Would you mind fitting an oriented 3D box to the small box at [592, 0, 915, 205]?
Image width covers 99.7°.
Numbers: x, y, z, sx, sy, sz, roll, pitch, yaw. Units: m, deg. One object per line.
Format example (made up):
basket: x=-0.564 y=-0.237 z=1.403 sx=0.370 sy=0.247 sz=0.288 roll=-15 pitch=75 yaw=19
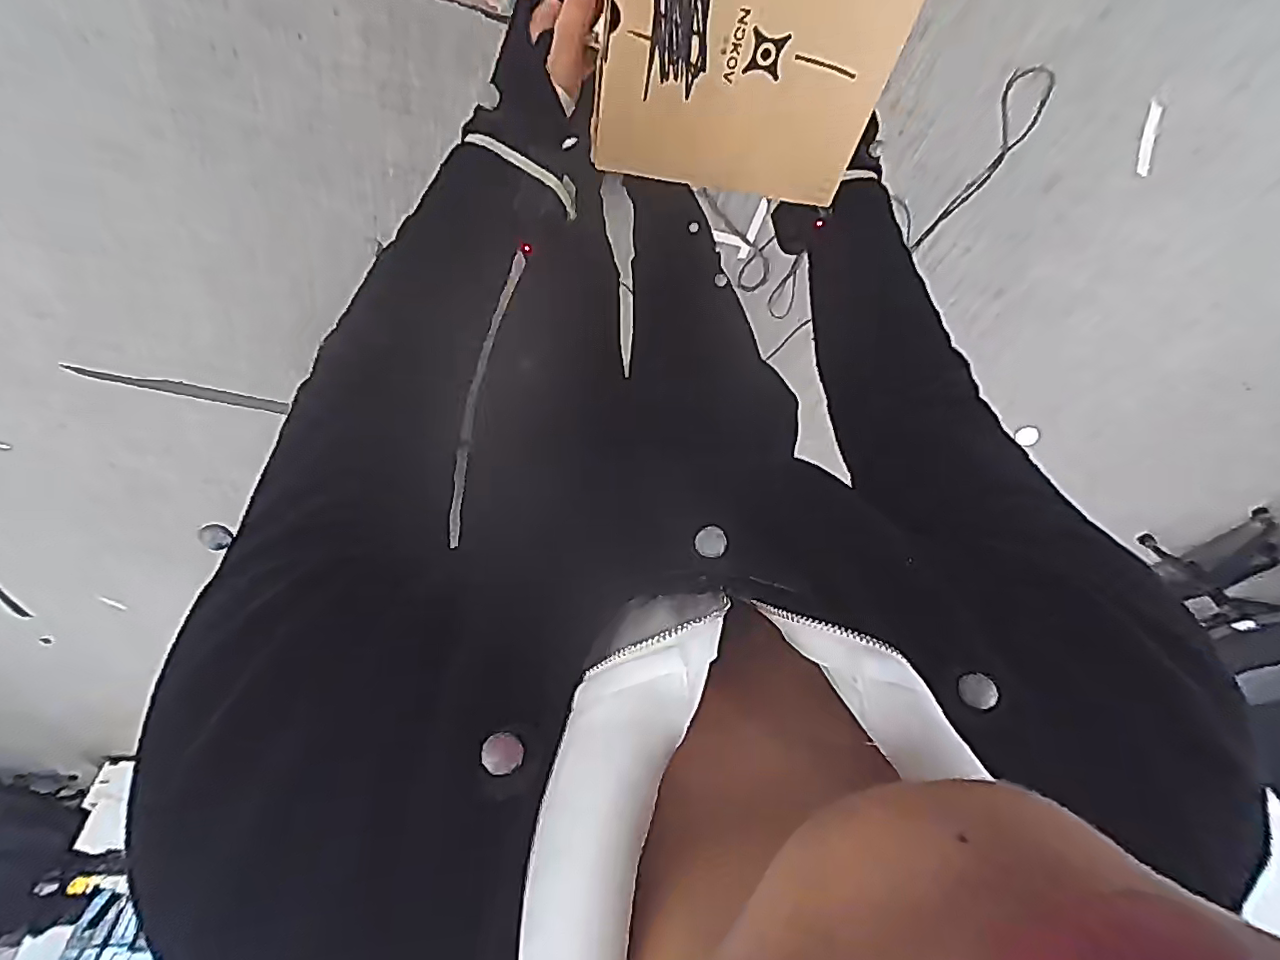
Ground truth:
small box: x=0.065 y=-0.325 z=0.372 sx=0.179 sy=0.176 sz=0.168 roll=5 pitch=145 yaw=-8
